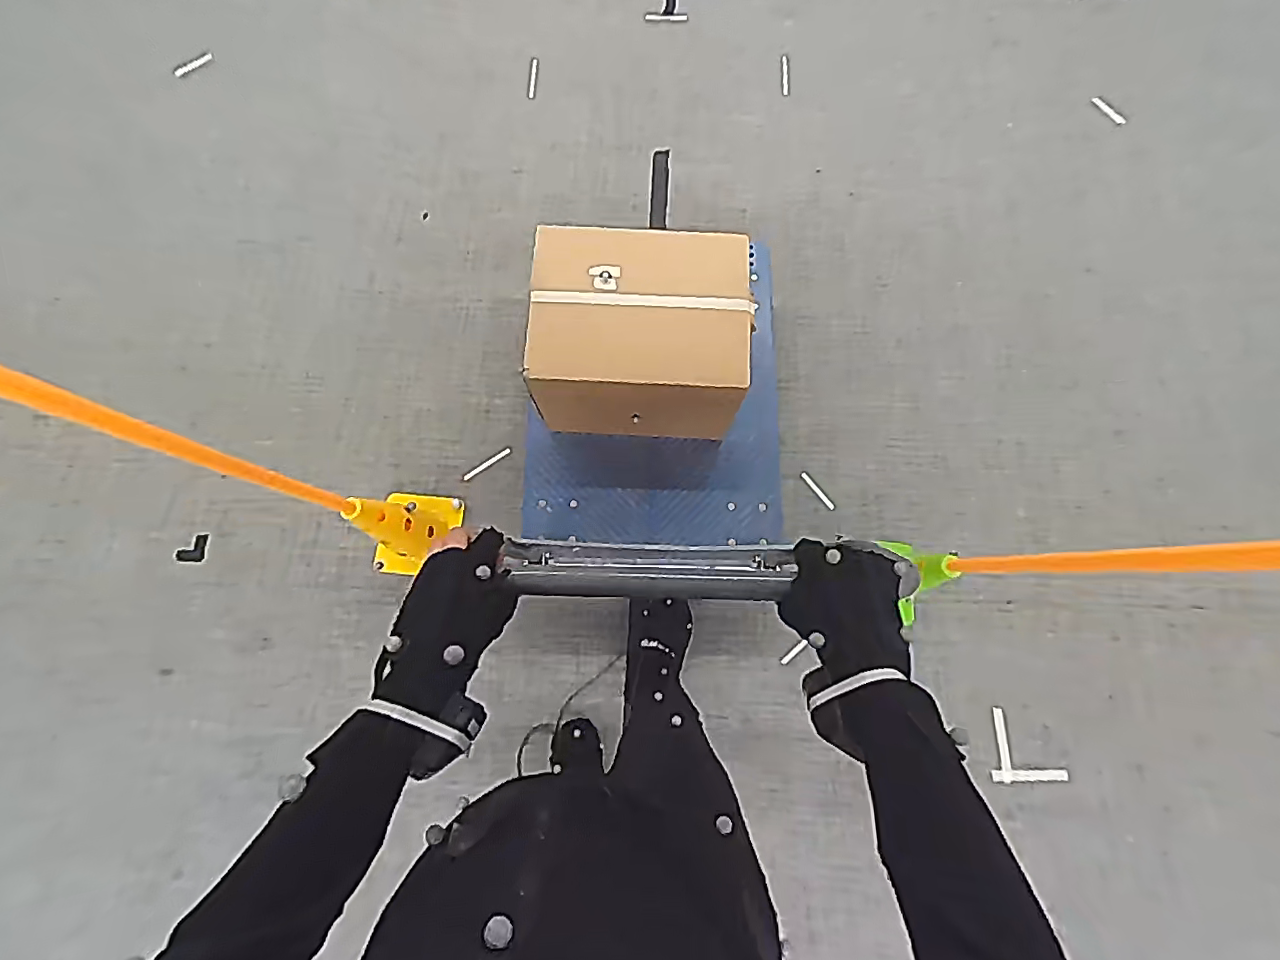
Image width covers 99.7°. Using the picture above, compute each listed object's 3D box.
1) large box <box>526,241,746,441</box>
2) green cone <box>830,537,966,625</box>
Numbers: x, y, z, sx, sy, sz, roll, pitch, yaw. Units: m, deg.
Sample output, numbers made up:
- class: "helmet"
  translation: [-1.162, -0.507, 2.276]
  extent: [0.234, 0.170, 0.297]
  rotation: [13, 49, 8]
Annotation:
- class: "large box"
  translation: [-0.001, -0.273, 1.150]
  extent: [0.408, 0.320, 0.320]
  rotation: [3, 77, 1]
- class: "green cone"
  translation: [0.578, 0.209, 1.178]
  extent: [0.202, 0.368, 0.200]
  rotation: [6, 76, 0]
